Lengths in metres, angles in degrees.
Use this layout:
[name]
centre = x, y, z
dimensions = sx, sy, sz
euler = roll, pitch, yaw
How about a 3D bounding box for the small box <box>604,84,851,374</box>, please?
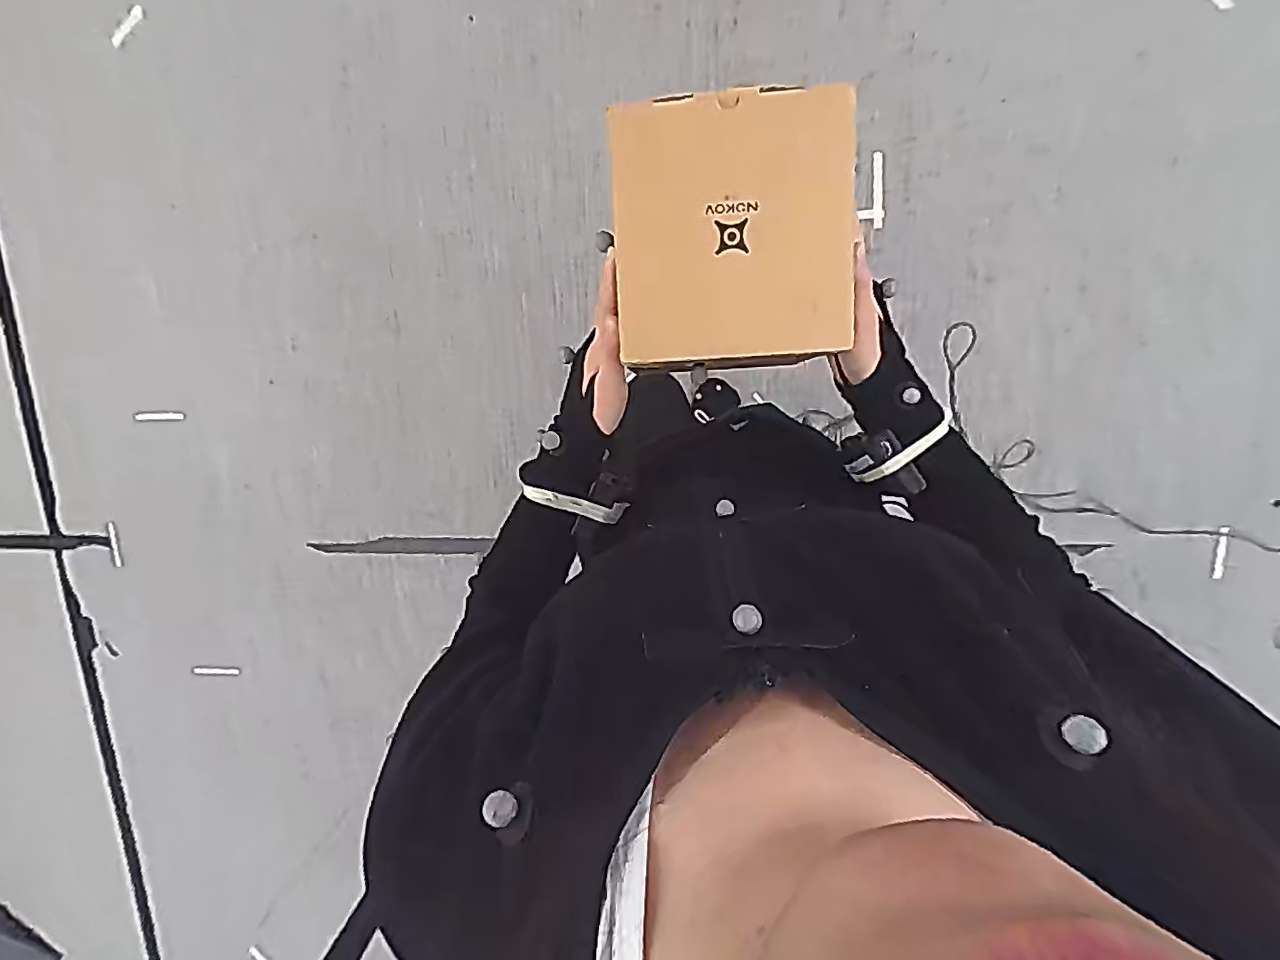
[small box]
centre = 0.066, -0.182, 0.450
dimensions = 0.168, 0.176, 0.179
euler = -3, 97, 3
